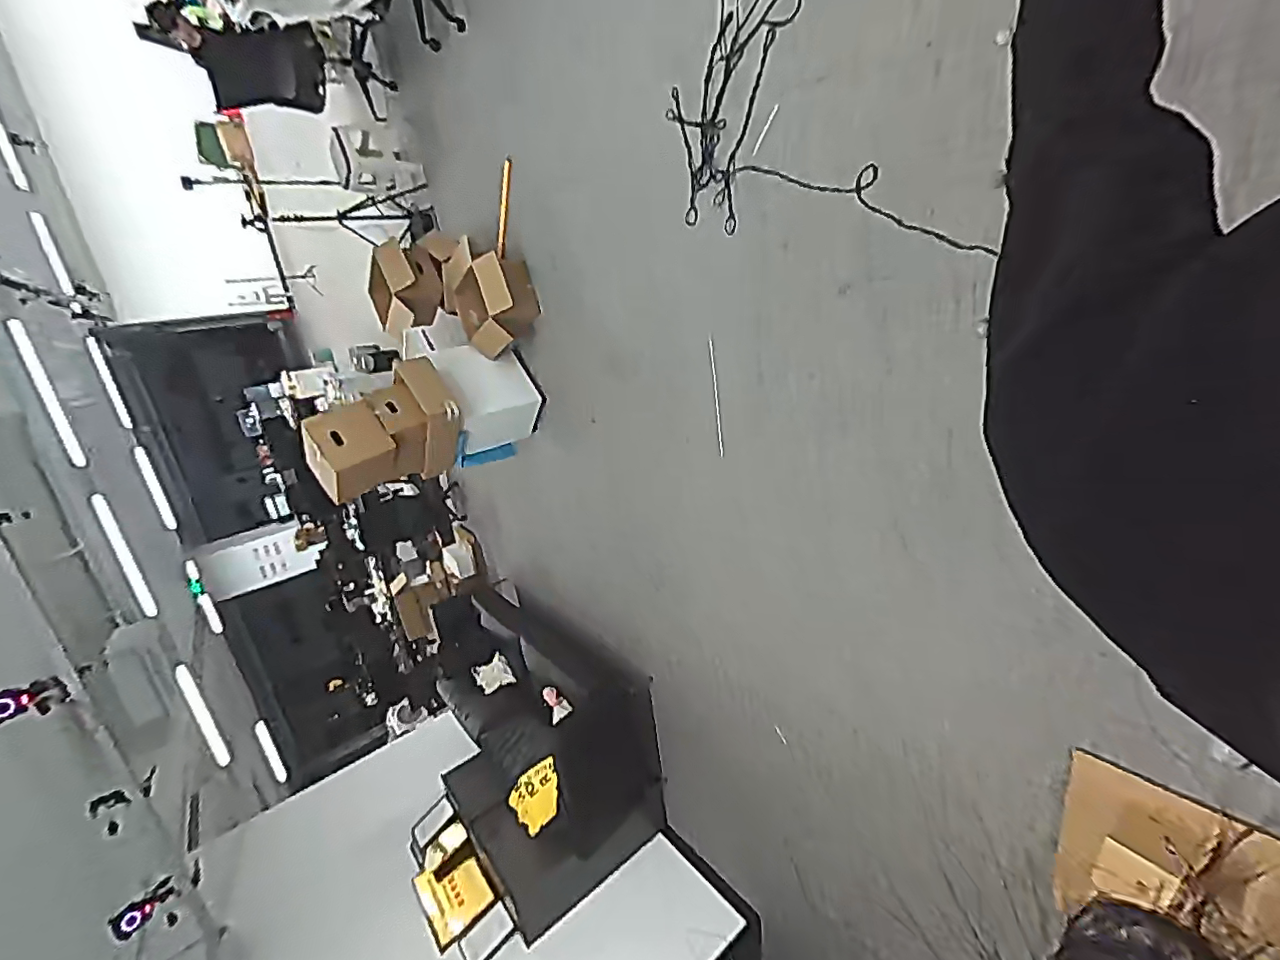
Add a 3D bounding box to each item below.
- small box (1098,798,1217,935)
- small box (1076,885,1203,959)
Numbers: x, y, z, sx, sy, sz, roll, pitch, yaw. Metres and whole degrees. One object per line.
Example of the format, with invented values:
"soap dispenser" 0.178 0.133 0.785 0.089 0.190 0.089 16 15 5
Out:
"small box" 1.264 0.930 1.321 0.168 0.176 0.179 21 125 49
"small box" 1.297 1.172 1.403 0.179 0.176 0.168 36 134 42
